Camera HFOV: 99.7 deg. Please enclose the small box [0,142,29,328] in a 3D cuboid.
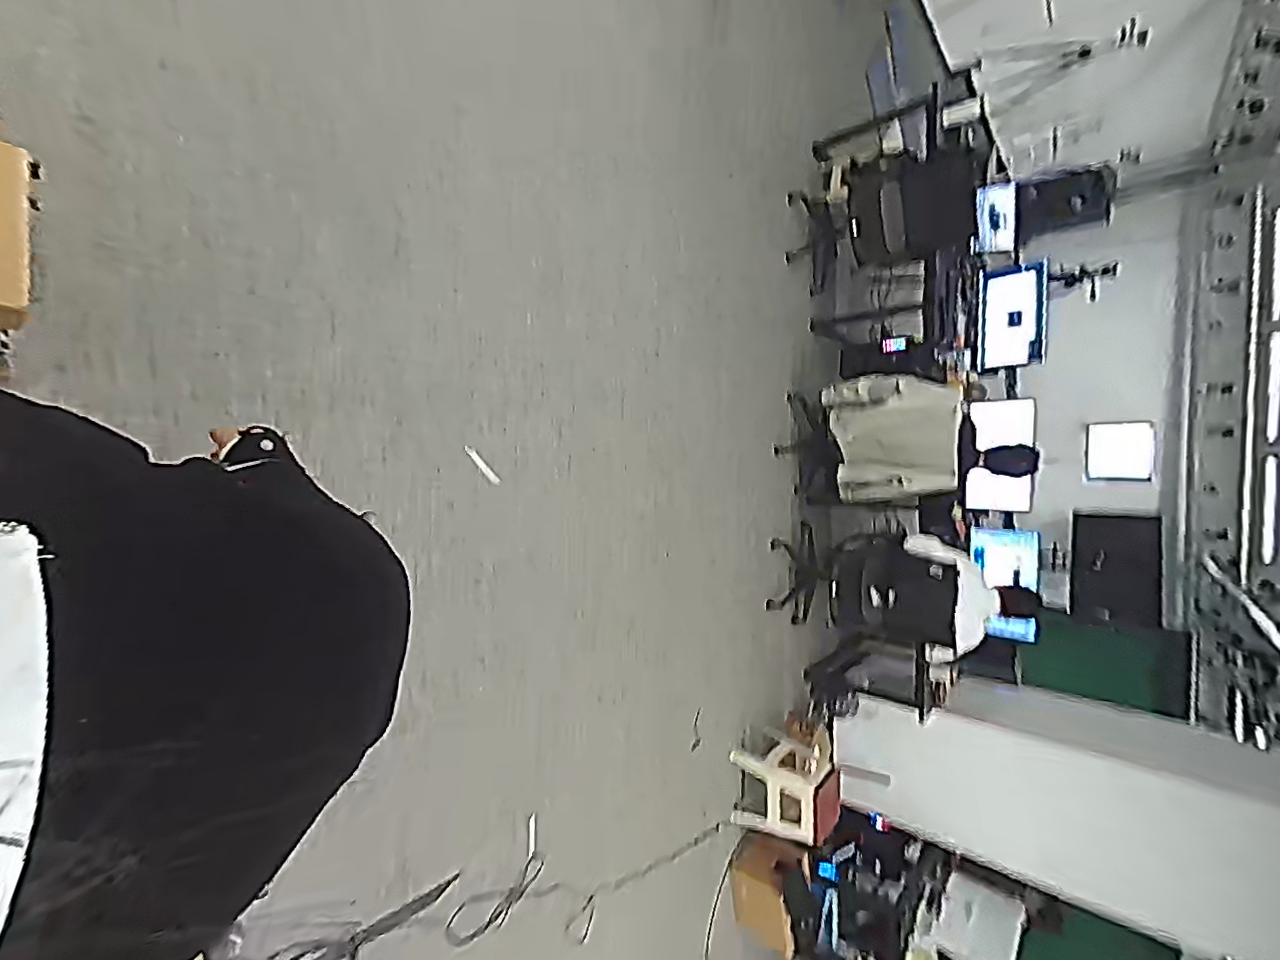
[{"bbox_3d":[-0.775,-0.272,0.569,0.168,0.176,0.179,0,93,-51],"label":"small box"}]
